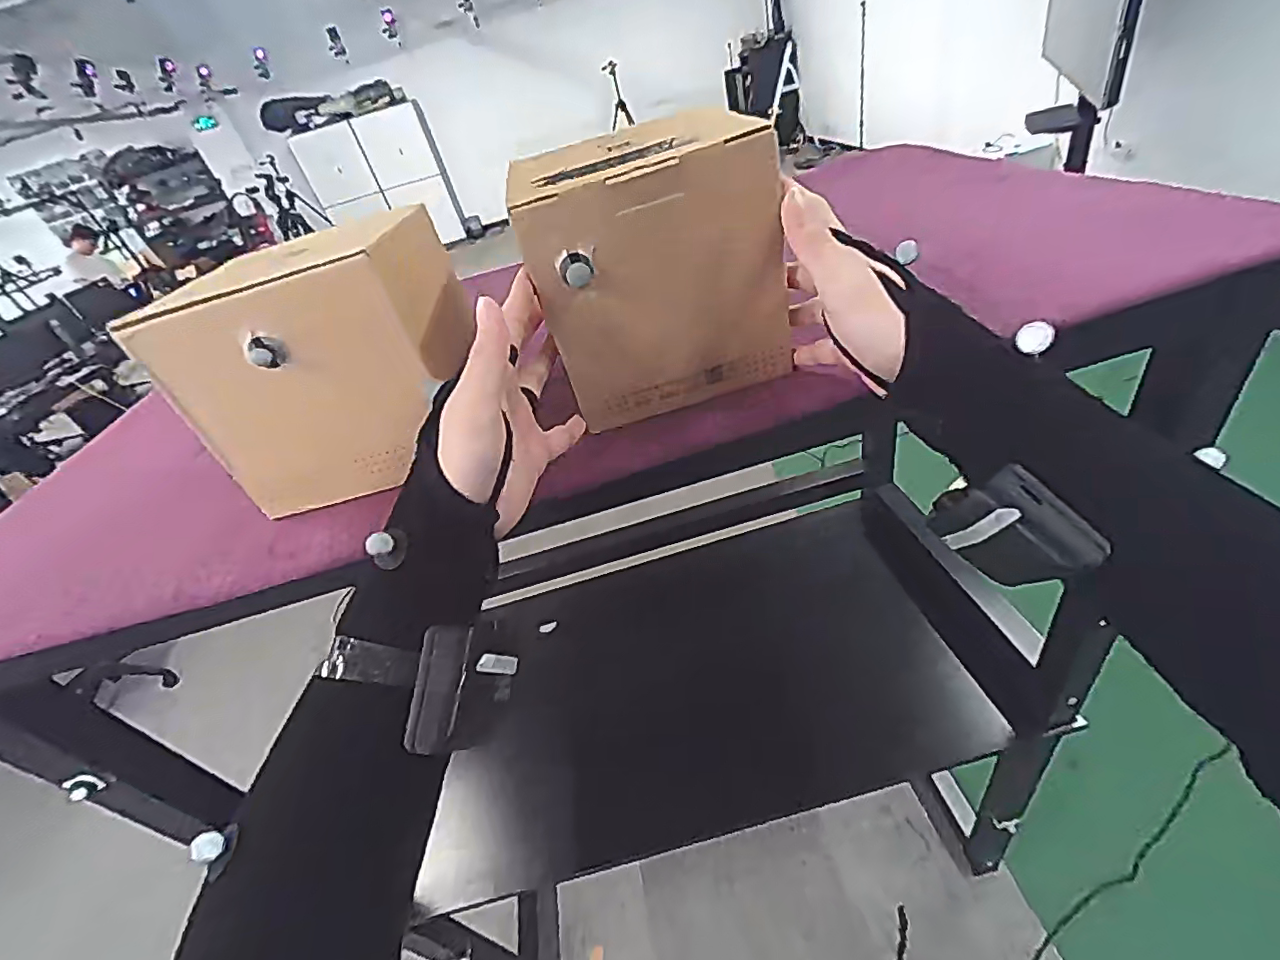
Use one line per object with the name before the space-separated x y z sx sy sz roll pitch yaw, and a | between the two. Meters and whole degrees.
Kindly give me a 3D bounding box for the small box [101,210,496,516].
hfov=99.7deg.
small box | -0.239 -0.093 0.437 0.179 0.176 0.168 -15 36 3
